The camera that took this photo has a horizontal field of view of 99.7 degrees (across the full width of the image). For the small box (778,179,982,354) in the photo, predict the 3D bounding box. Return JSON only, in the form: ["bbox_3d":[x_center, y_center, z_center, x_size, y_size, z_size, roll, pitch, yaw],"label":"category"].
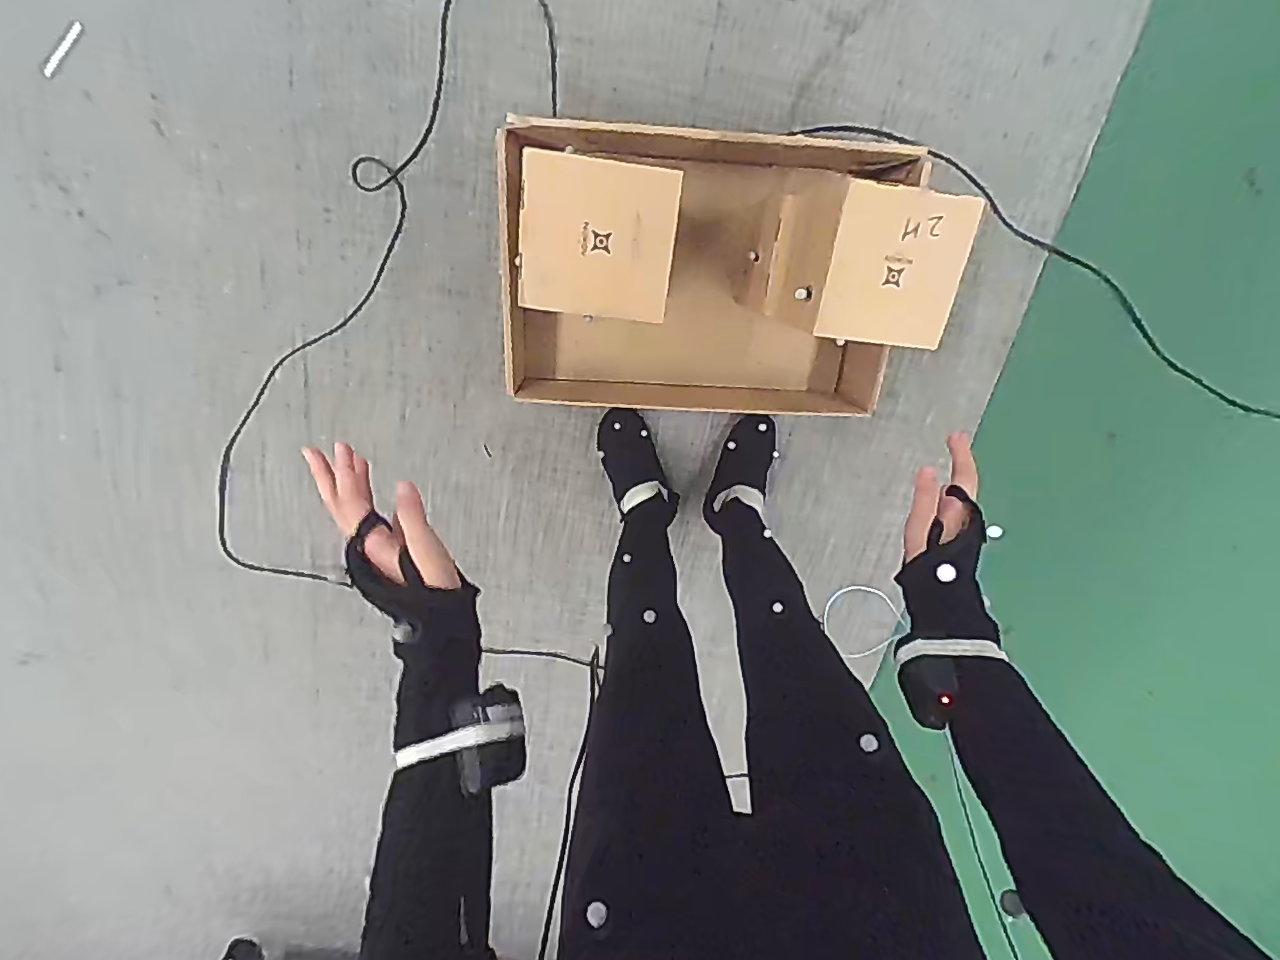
[{"bbox_3d":[0.297,-0.277,0.715,0.168,0.176,0.179,6,111,-7],"label":"small box"}]

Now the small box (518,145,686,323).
[{"bbox_3d":[-0.051,-0.303,0.686,0.179,0.176,0.168,6,113,-7],"label":"small box"}]

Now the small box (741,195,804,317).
[{"bbox_3d":[0.273,-0.342,0.866,0.179,0.176,0.168,6,112,-5],"label":"small box"}]
